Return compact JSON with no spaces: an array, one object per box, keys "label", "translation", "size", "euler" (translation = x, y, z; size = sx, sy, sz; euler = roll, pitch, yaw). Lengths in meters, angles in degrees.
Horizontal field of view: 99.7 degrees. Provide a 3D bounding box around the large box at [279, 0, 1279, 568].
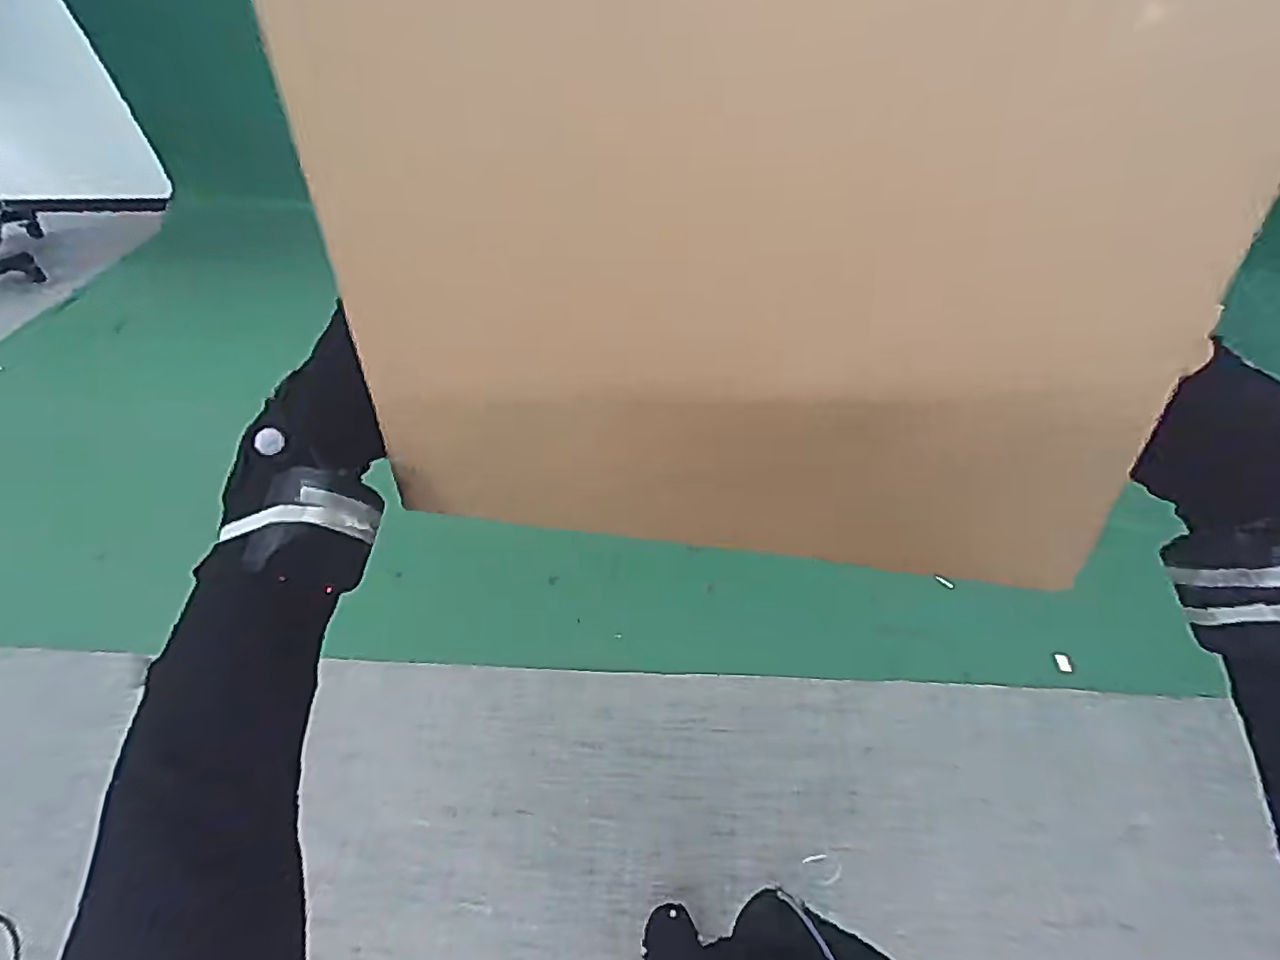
[{"label":"large box","translation":[0.063,-0.166,0.389],"size":[0.408,0.320,0.320],"euler":[6,33,11]}]
